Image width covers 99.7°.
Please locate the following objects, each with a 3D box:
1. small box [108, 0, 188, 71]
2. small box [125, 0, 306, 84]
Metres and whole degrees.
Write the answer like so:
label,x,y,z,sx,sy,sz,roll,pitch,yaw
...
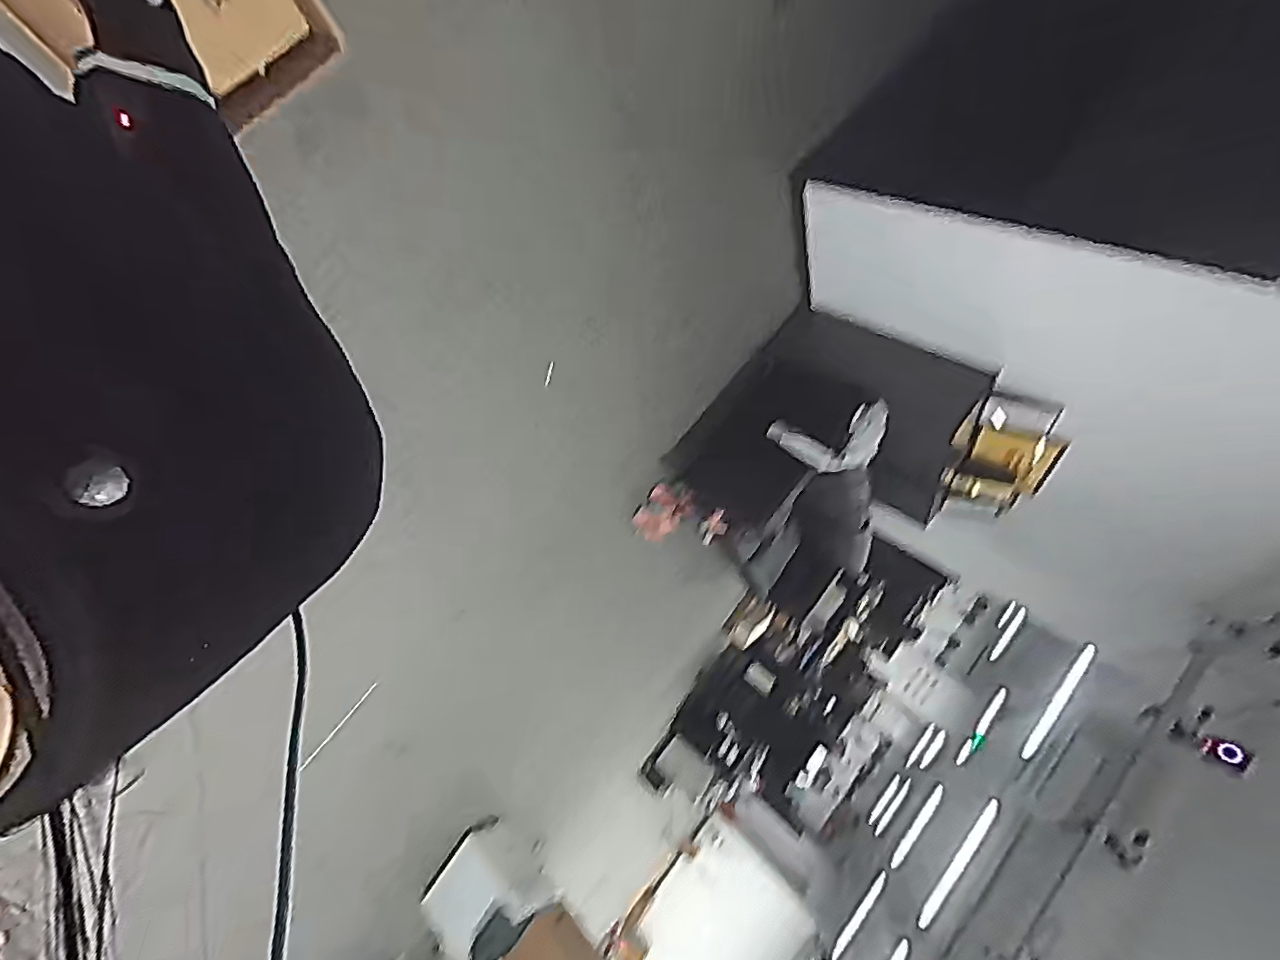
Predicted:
label,x,y,z,sx,sy,sz,roll,pitch,yaw
small box,-0.749,-0.798,0.863,0.179,0.176,0.168,-47,146,-11
small box,-0.638,-0.713,0.779,0.179,0.176,0.168,-48,148,-12
